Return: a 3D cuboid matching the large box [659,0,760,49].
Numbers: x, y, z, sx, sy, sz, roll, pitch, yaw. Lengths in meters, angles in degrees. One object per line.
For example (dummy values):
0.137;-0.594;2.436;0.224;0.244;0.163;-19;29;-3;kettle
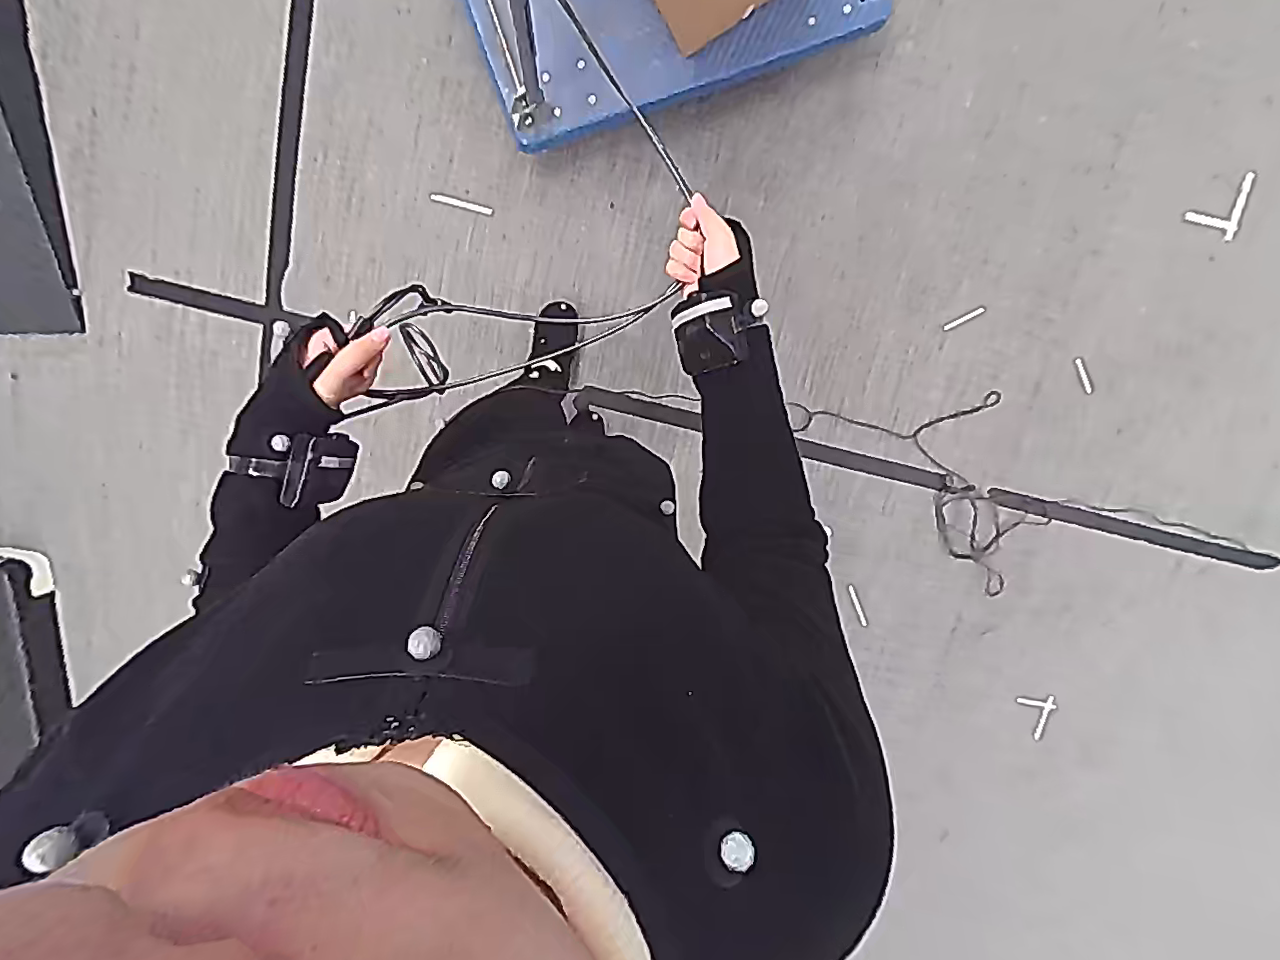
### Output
0.126;-1.119;0.952;0.320;0.320;0.408;-33;102;4;large box
